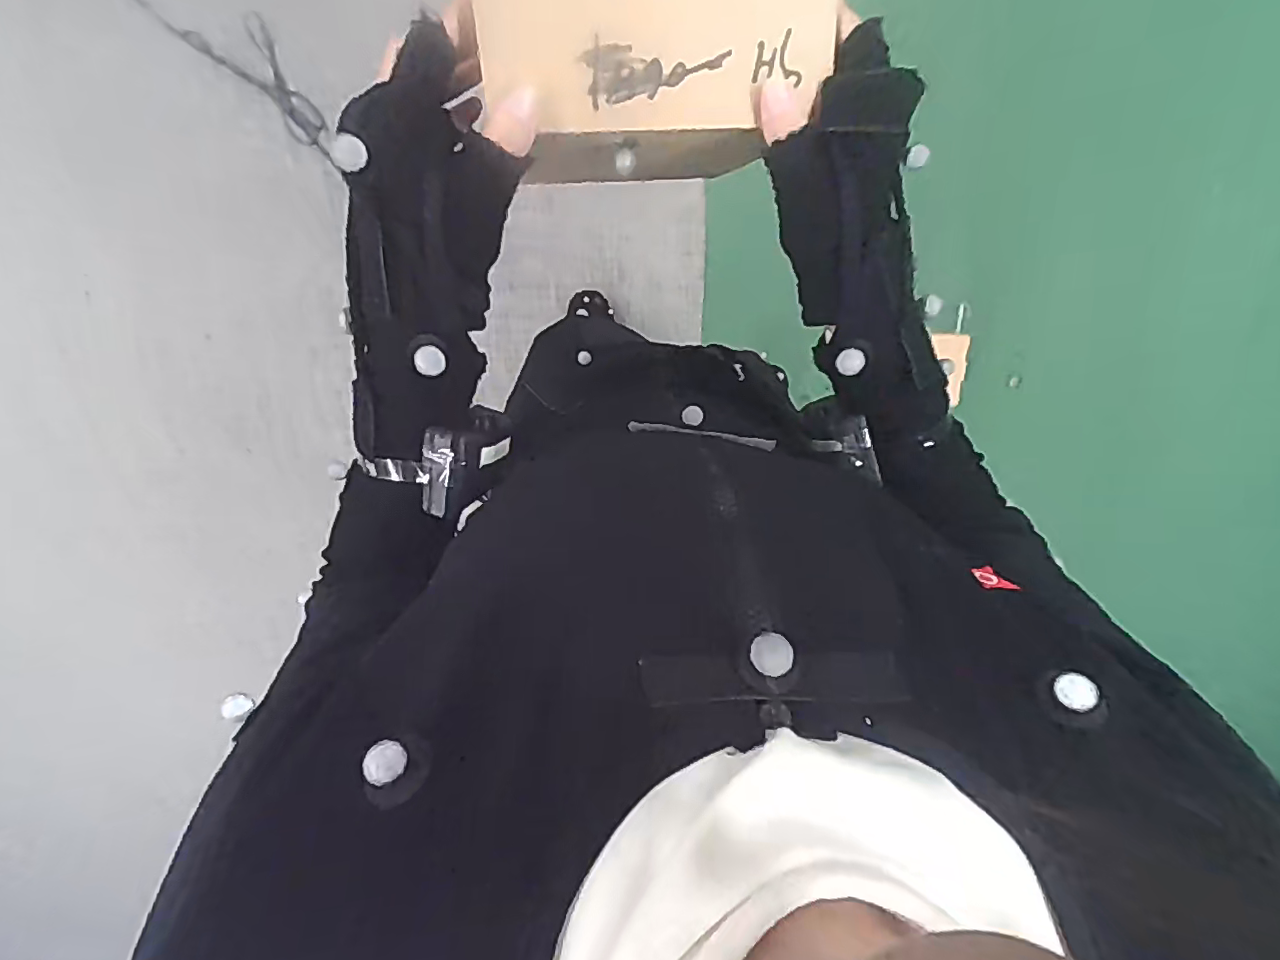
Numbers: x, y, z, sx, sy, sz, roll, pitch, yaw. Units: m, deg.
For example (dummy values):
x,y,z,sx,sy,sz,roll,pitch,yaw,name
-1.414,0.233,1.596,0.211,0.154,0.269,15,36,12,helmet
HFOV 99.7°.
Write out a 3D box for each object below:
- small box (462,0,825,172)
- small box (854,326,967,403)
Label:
x,y,z,sx,sy,sz,roll,pitch,yaw,name
-0.013,-0.283,0.294,0.168,0.176,0.179,-7,112,-8,small box
0.653,-0.287,1.325,0.179,0.176,0.168,-1,109,-2,small box
